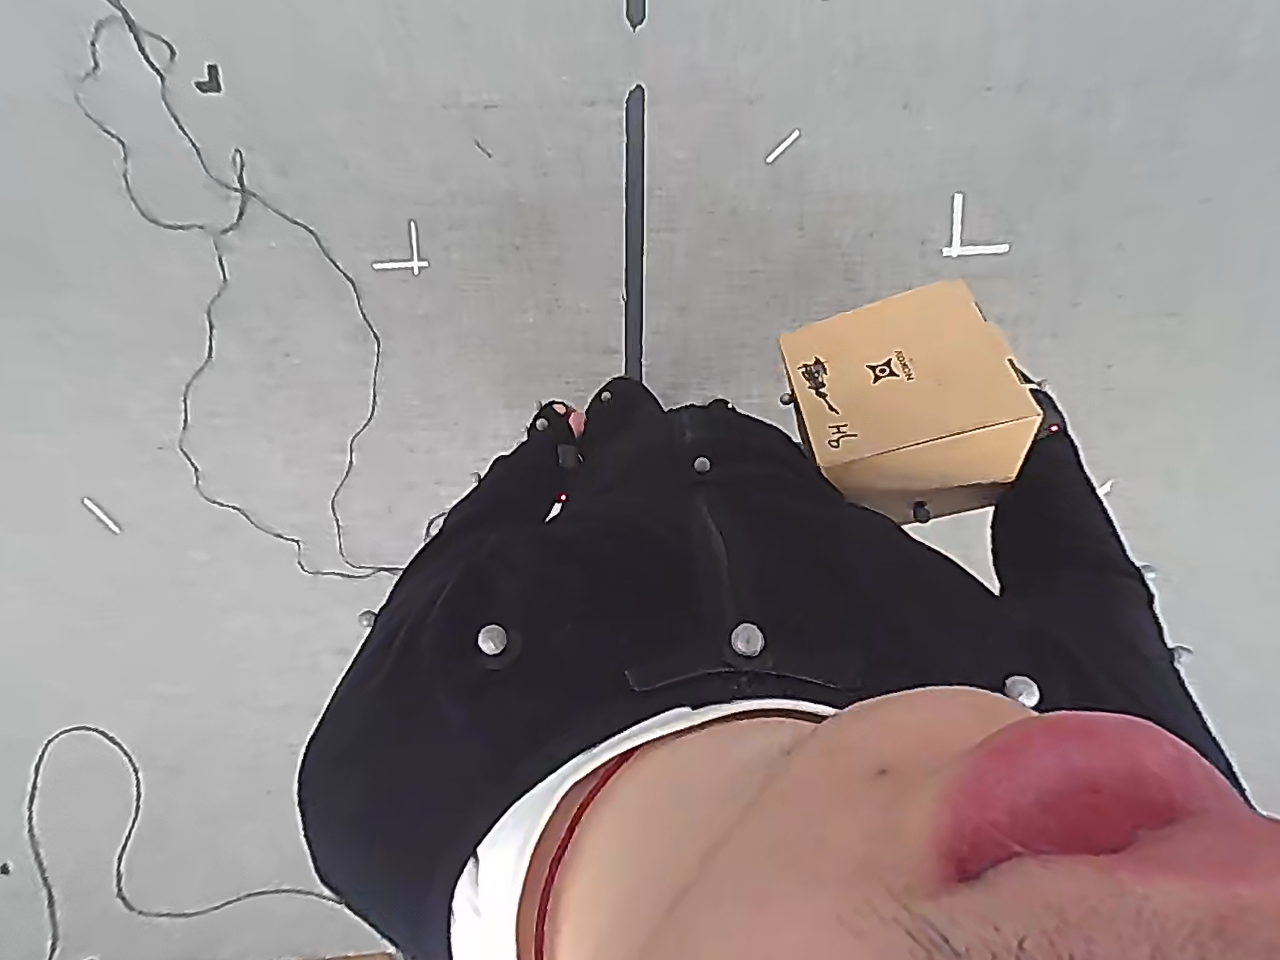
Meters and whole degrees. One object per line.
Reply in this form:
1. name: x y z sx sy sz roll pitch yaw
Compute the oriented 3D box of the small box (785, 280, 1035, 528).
1. small box: 0.264 -0.068 0.568 0.179 0.176 0.168 -15 57 15
